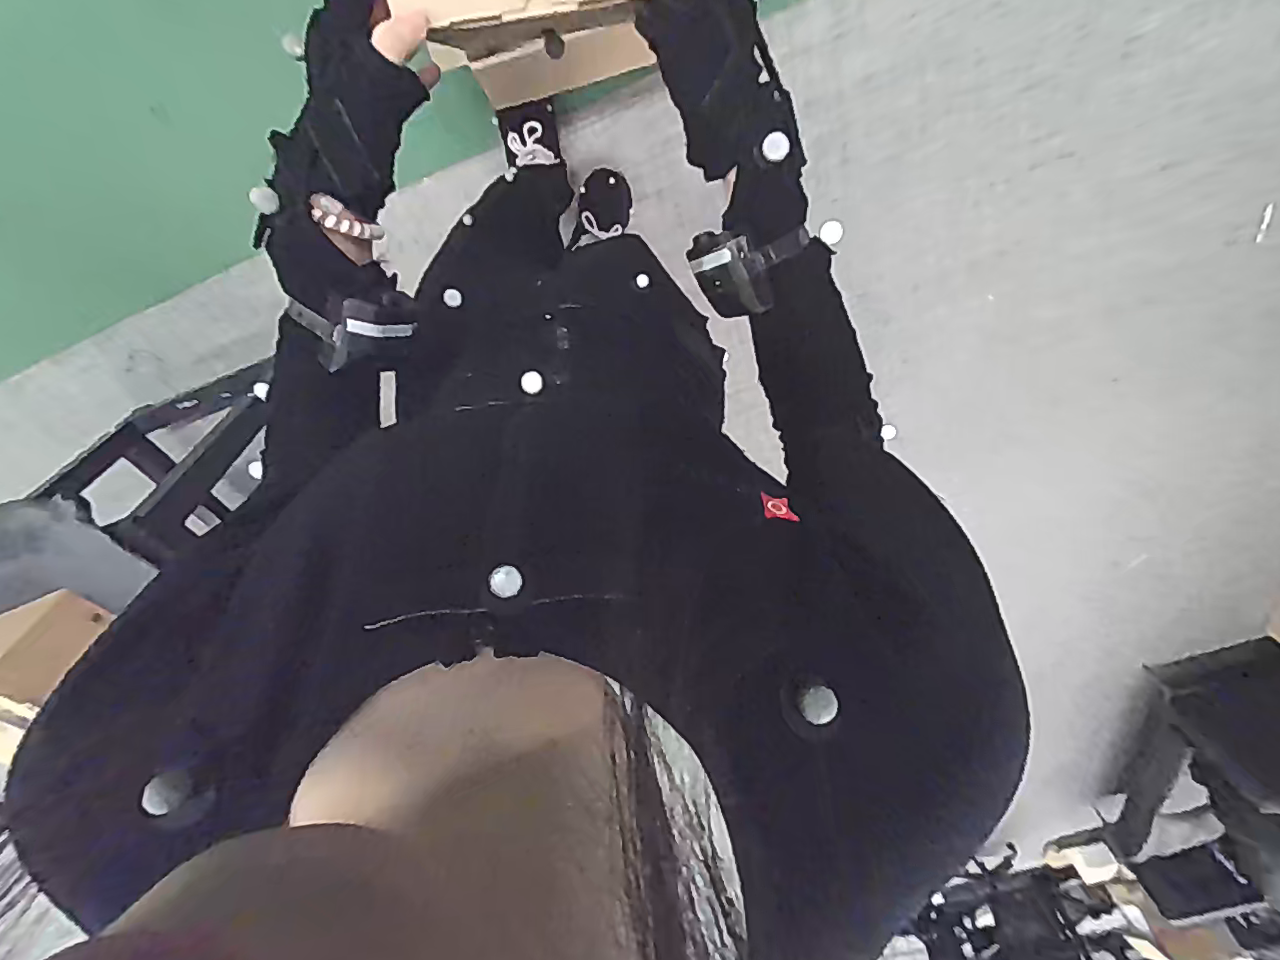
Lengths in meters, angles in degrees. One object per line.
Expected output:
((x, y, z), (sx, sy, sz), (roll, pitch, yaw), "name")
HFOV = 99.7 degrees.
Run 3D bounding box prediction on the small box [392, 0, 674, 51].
((-0.072, -0.382, 0.324), (0.168, 0.176, 0.179), (-8, 126, 1), "small box")
